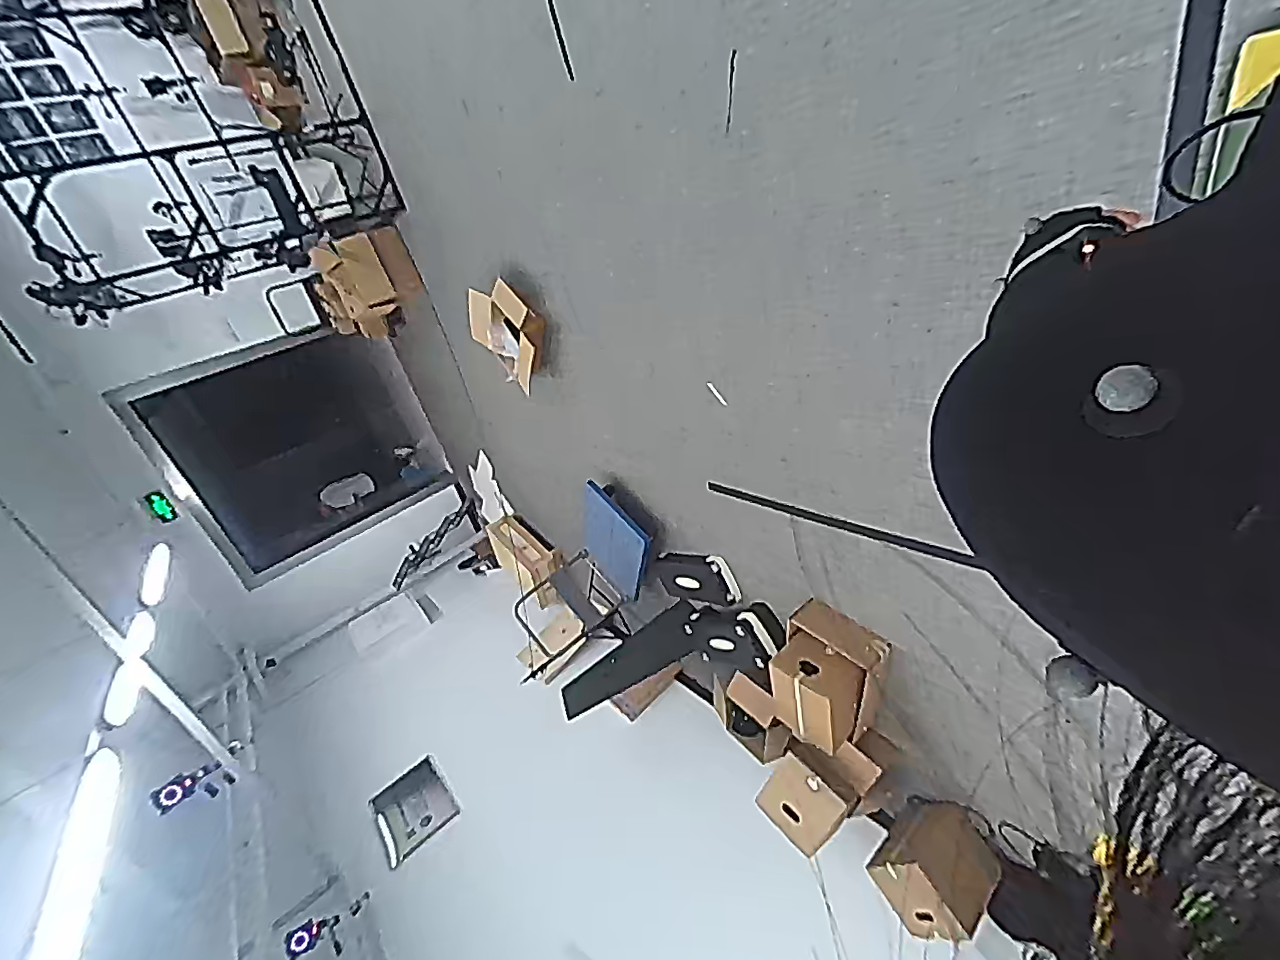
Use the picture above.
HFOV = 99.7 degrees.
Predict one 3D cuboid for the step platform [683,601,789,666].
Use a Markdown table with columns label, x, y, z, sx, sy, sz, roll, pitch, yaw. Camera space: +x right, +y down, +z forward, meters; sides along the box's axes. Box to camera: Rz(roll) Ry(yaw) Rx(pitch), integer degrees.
| label | x | y | z | sx | sy | sz | roll | pitch | yaw |
| --- | --- | --- | --- | --- | --- | --- | --- | --- | --- |
| step platform | 0.520 | 0.876 | 3.086 | 0.286 | 0.204 | 0.684 | 58 | 151 | -1 |
